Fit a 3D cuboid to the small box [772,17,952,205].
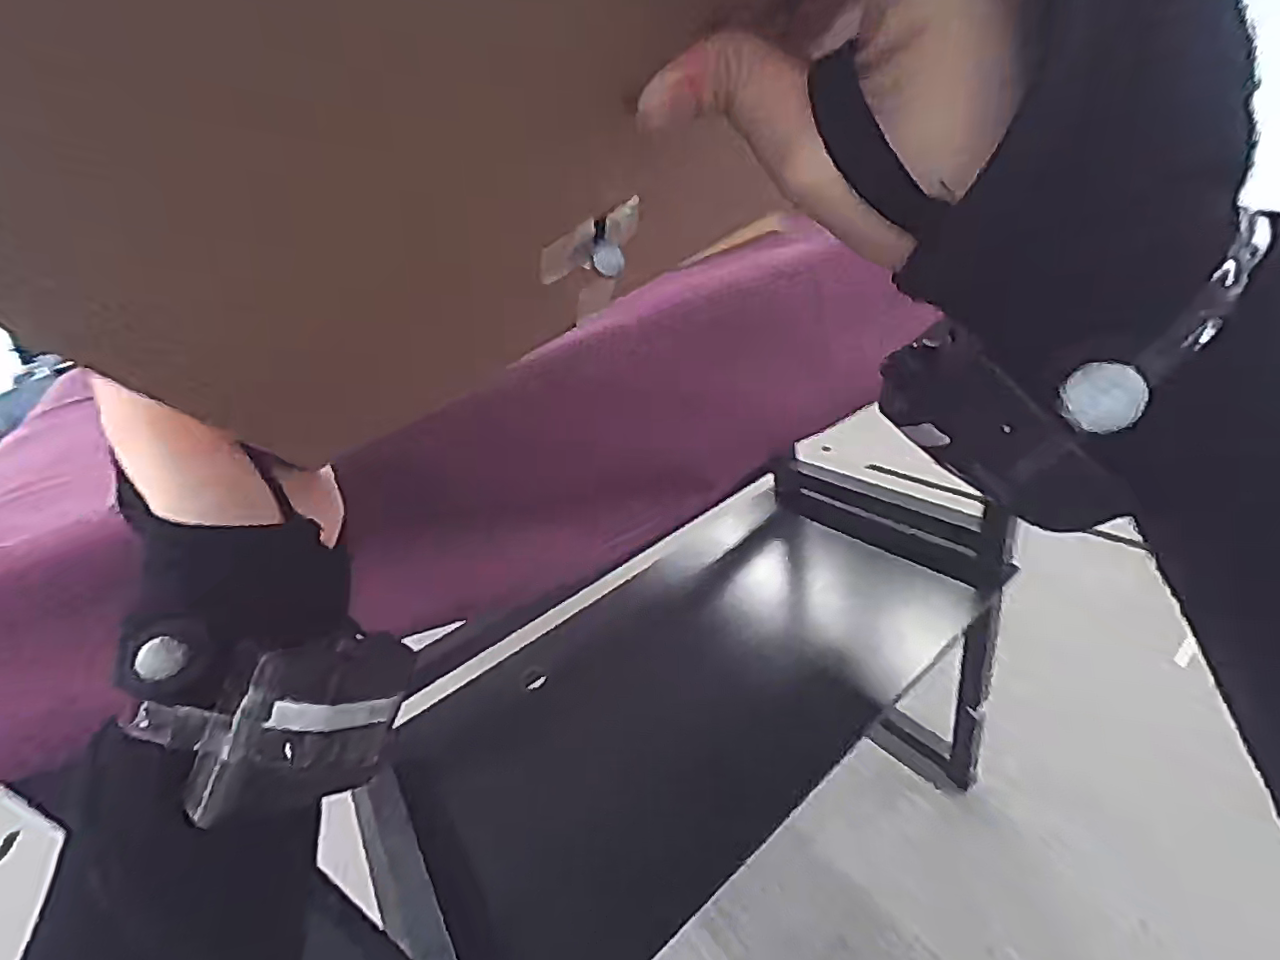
[{"bbox_3d":[0.278,-0.472,0.711,0.179,0.176,0.168,-29,32,-26],"label":"small box"}]
